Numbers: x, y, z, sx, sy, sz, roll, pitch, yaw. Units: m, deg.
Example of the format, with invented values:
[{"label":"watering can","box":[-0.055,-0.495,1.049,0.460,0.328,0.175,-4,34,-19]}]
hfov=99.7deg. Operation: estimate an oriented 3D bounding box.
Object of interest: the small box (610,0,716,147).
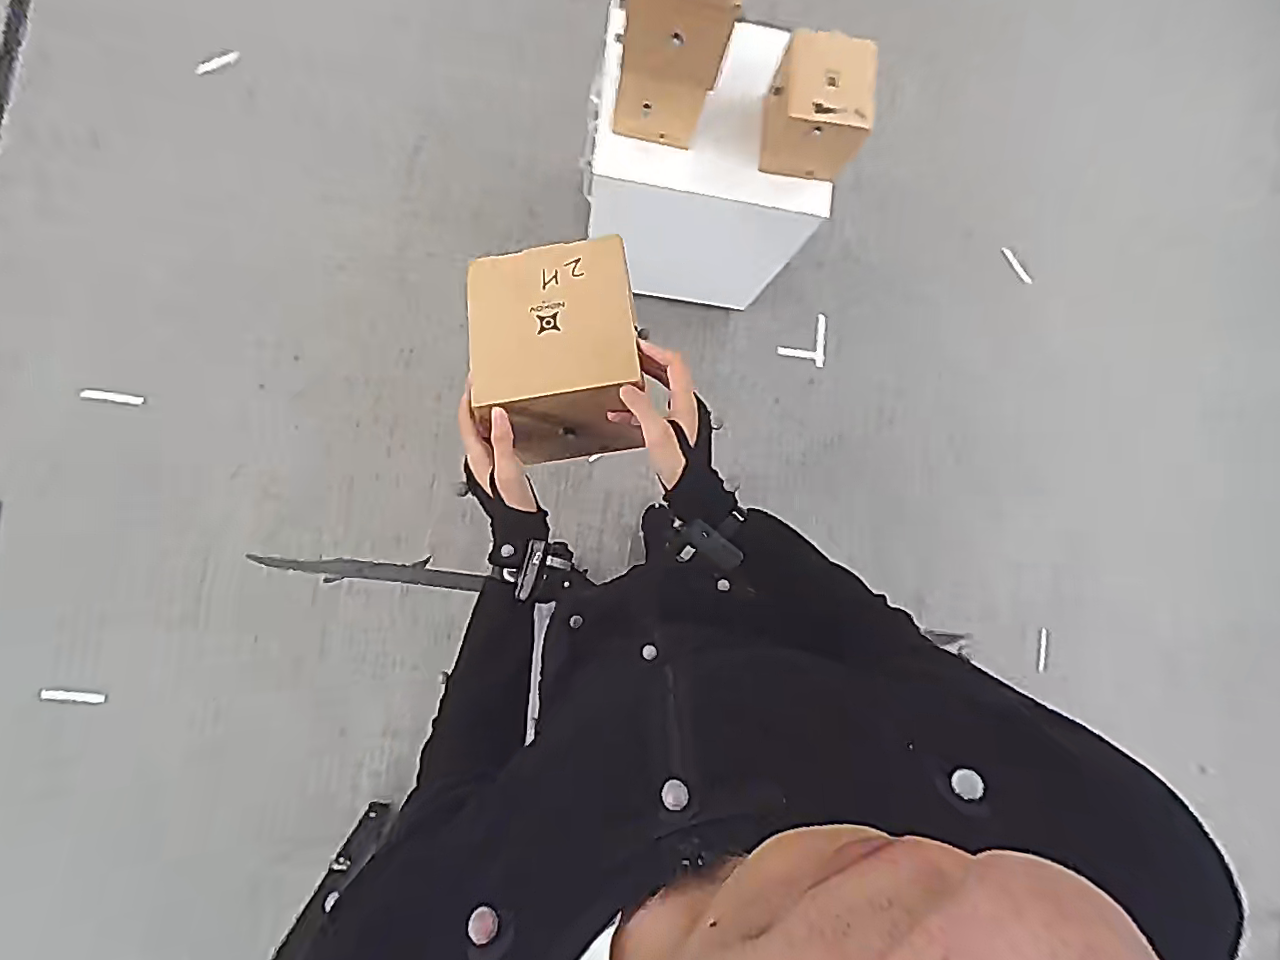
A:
[{"label":"small box","box":[0.037,-0.782,1.035,0.168,0.176,0.179,7,86,-8]}]

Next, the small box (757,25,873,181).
[{"label":"small box","box":[0.340,-0.735,1.071,0.168,0.176,0.179,4,86,-6]}]

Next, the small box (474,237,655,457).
[{"label":"small box","box":[-0.077,-0.134,0.609,0.168,0.176,0.179,-7,70,3]}]
